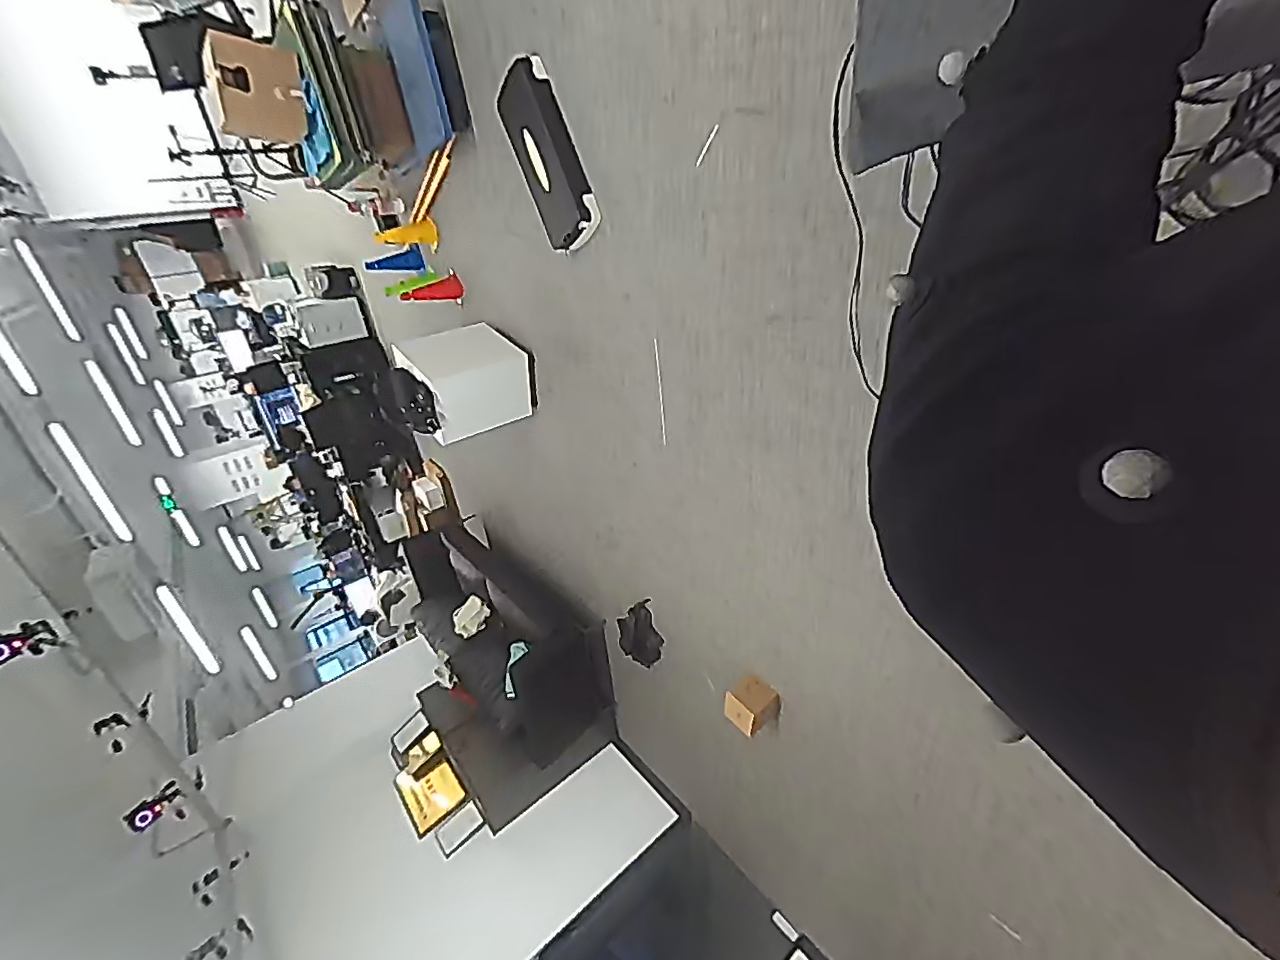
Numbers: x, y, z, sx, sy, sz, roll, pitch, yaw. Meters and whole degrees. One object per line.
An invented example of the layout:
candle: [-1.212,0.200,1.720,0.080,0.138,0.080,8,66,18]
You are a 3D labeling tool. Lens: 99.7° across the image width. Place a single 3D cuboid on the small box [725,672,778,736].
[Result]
small box: [0.510,1.015,2.465,0.168,0.176,0.179,34,138,42]
